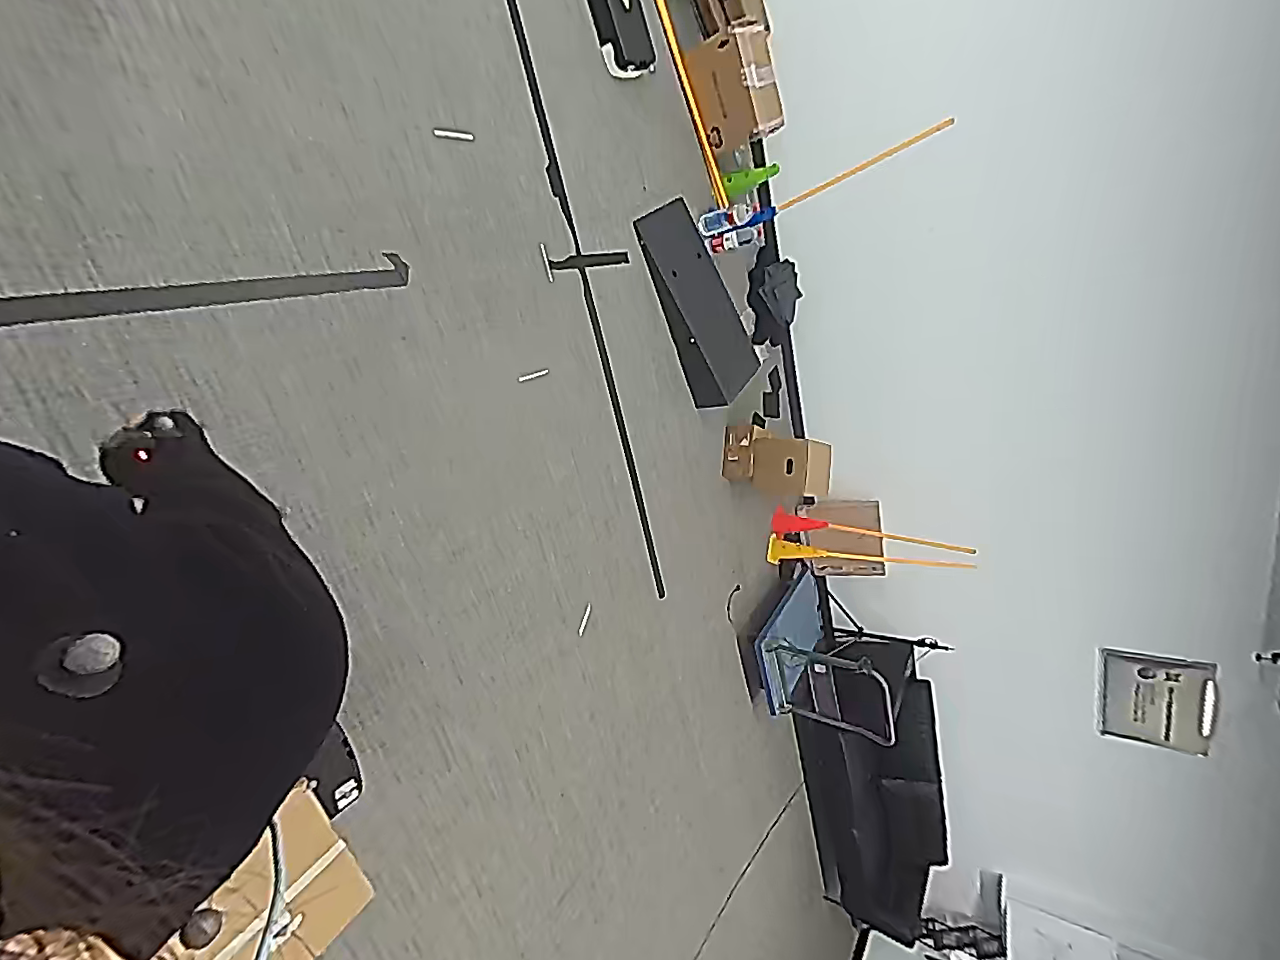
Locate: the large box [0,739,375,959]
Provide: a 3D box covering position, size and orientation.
[{"bbox_3d":[-0.783,0.758,0.956,0.408,0.320,0.320,-38,119,-47],"label":"large box"}]
